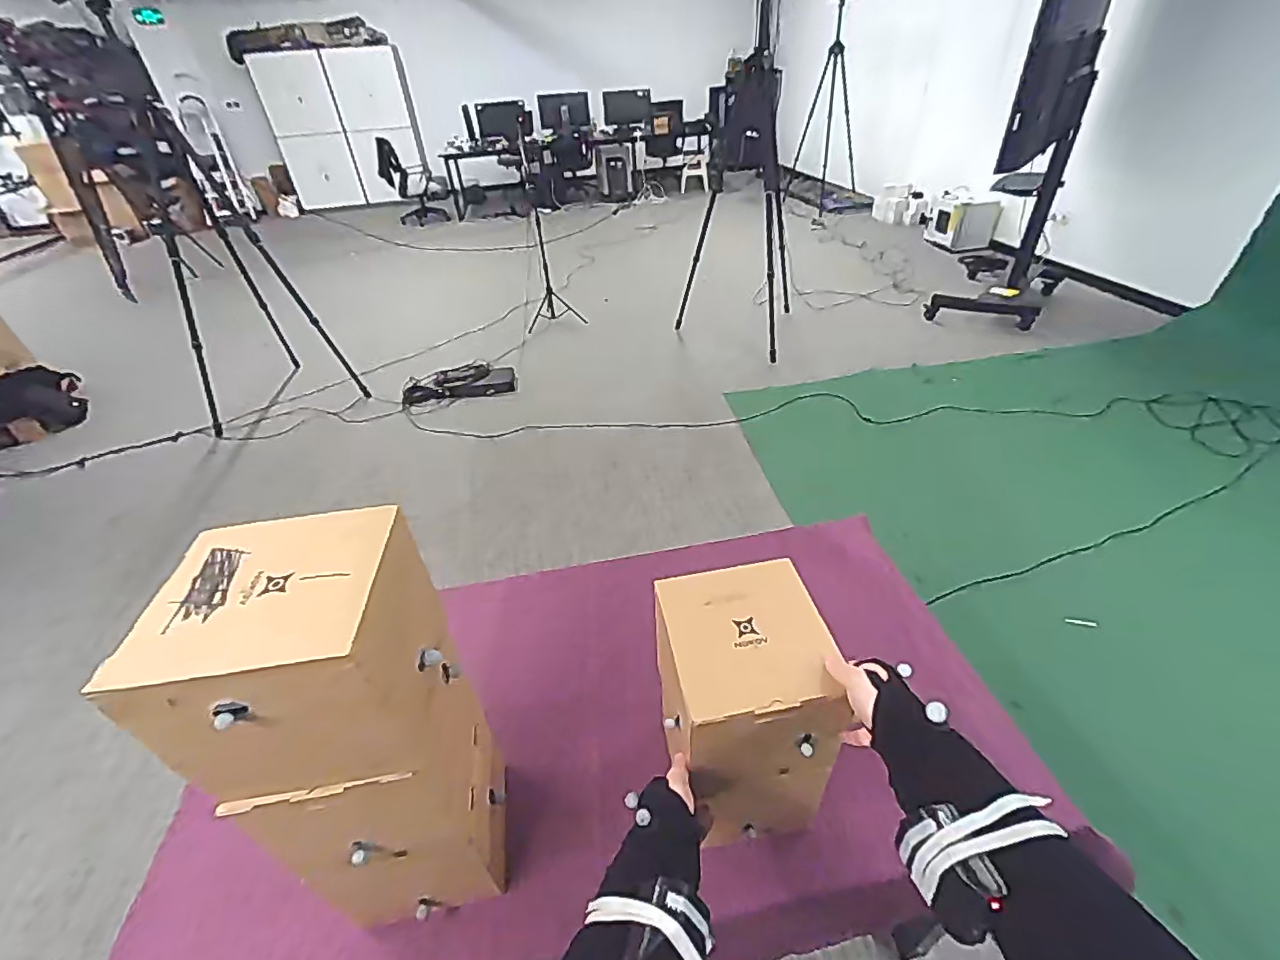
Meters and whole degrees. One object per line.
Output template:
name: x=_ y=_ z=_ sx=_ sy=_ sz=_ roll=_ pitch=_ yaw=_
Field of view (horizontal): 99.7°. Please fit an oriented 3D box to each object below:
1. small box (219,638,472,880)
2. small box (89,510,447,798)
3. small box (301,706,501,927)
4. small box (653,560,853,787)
small box: x=-0.284 y=0.282 z=0.575 sx=0.168 sy=0.176 sz=0.179 roll=-9 pitch=38 yaw=-6
small box: x=-0.289 y=0.151 z=0.475 sx=0.179 sy=0.176 sz=0.168 roll=-7 pitch=38 yaw=-5
small box: x=-0.273 y=0.415 z=0.672 sx=0.179 sy=0.176 sz=0.168 roll=-9 pitch=38 yaw=-8
small box: x=0.114 y=0.222 z=0.615 sx=0.168 sy=0.176 sz=0.179 roll=-8 pitch=39 yaw=-6
